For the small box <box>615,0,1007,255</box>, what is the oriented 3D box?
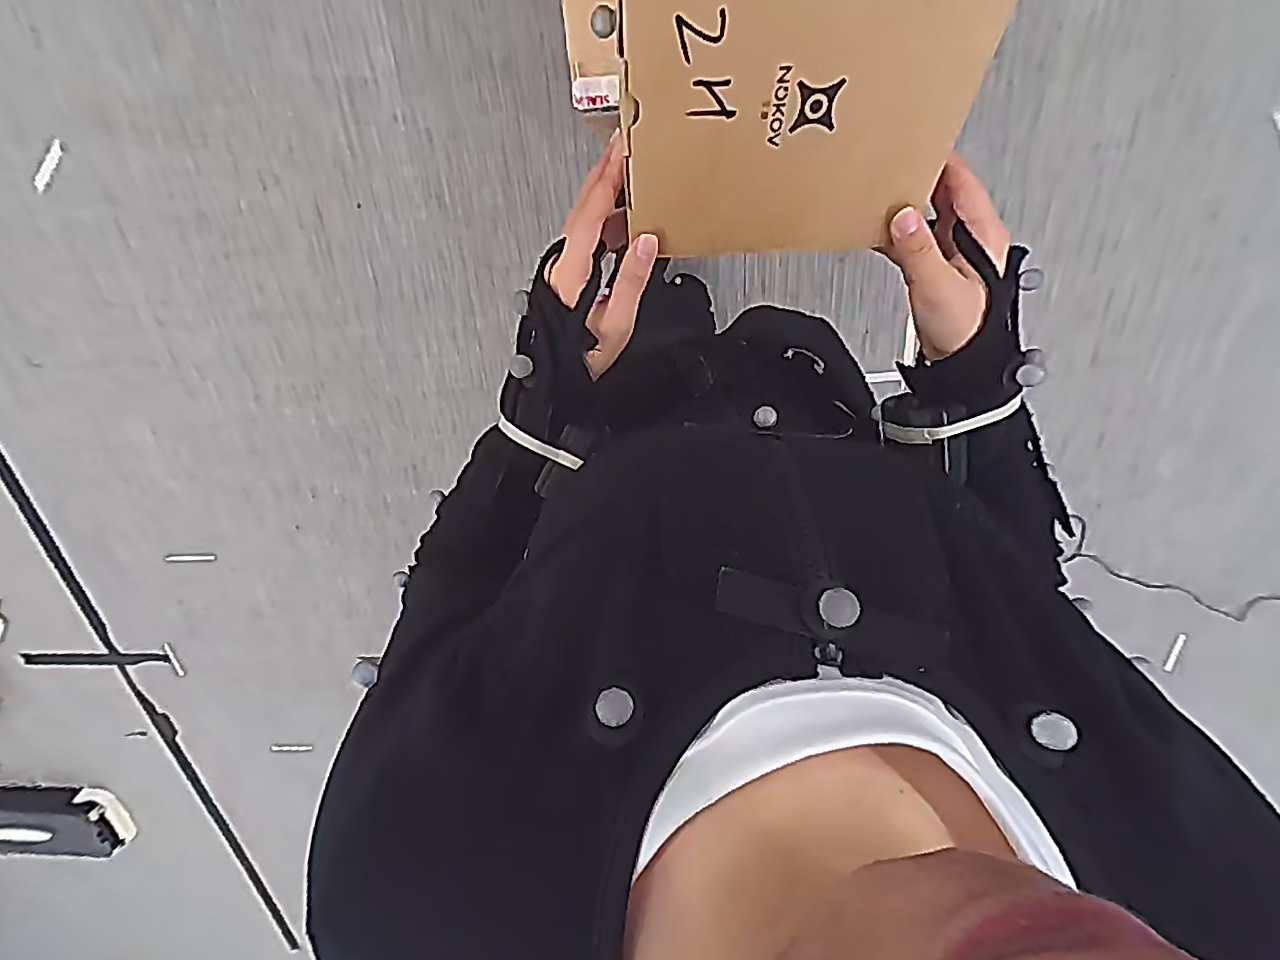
[{"bbox_3d":[0.075,-0.257,0.315,0.179,0.176,0.168,-2,147,0],"label":"small box"}]
